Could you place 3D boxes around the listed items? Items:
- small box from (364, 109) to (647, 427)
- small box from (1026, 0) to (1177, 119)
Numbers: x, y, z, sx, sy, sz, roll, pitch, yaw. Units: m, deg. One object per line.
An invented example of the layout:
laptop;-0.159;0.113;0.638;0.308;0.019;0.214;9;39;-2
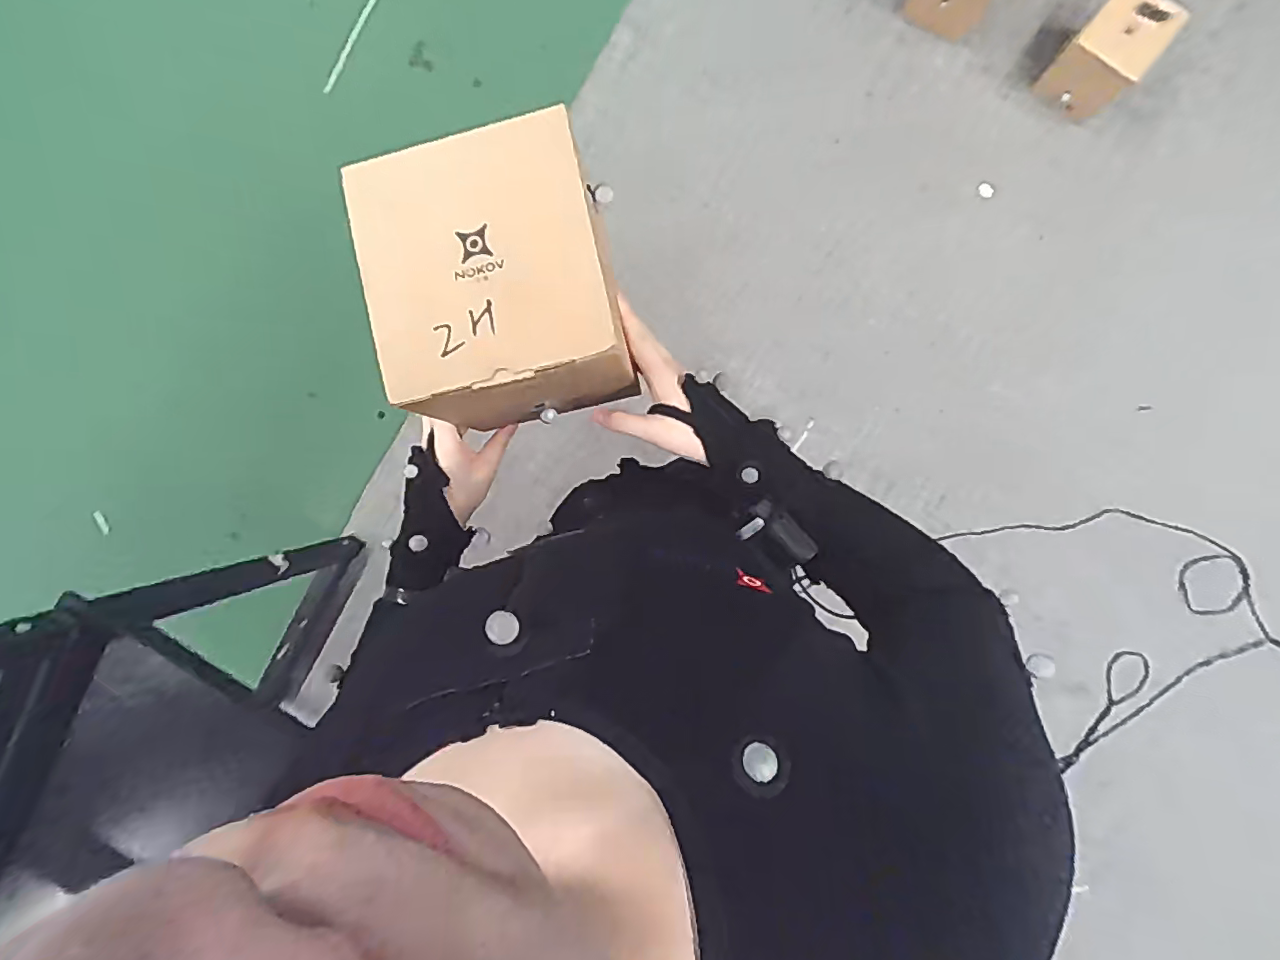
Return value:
small box;-0.093;-0.152;0.450;0.168;0.176;0.179;-12;89;5
small box;1.069;-1.011;1.272;0.168;0.176;0.179;37;97;2
